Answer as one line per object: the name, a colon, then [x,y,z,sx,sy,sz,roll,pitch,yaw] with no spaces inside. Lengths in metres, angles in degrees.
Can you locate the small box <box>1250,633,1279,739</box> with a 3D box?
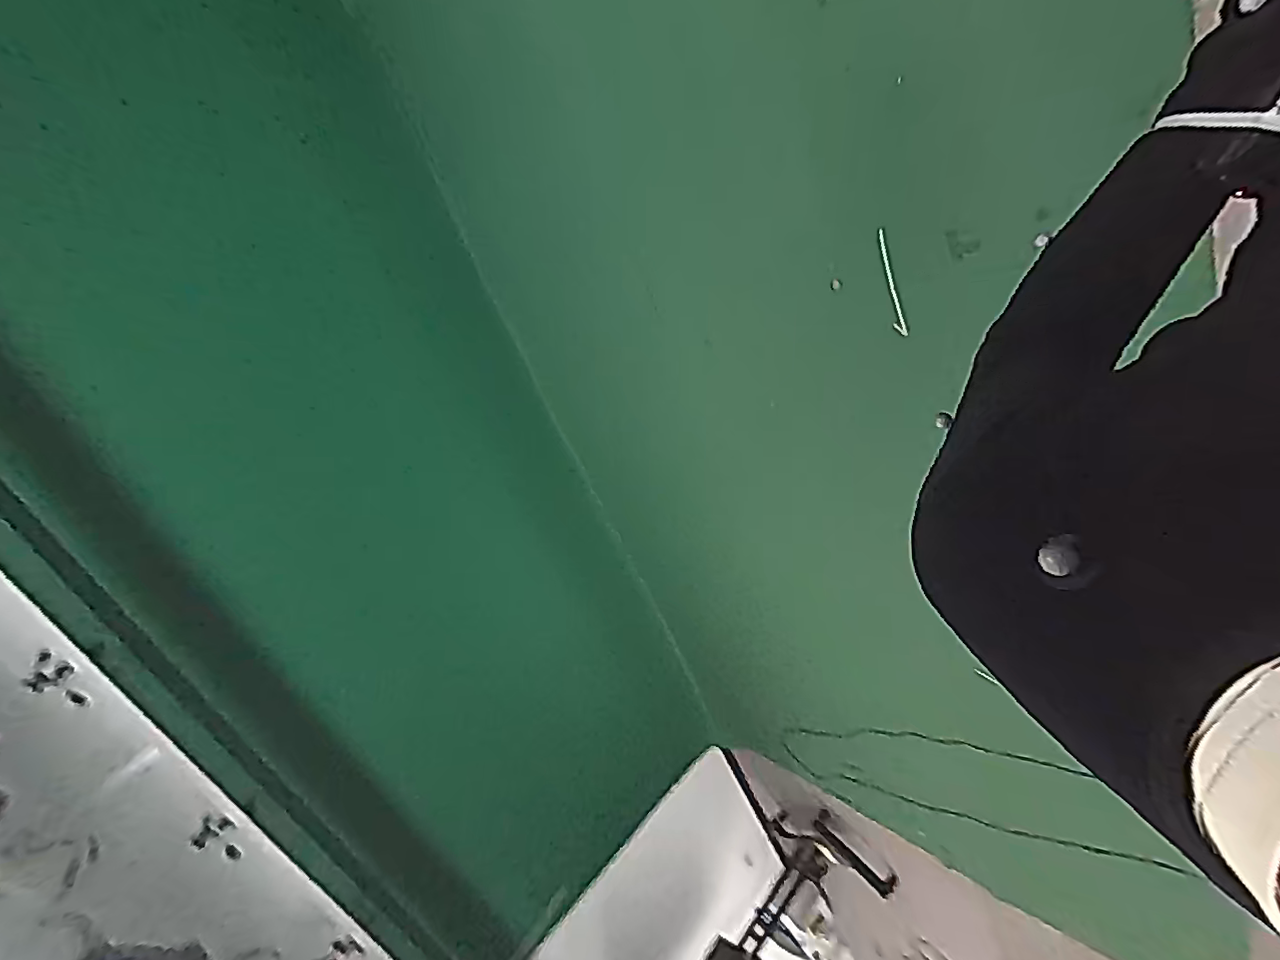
small box: [1.457,0.458,1.164,0.179,0.176,0.168,5,125,52]
